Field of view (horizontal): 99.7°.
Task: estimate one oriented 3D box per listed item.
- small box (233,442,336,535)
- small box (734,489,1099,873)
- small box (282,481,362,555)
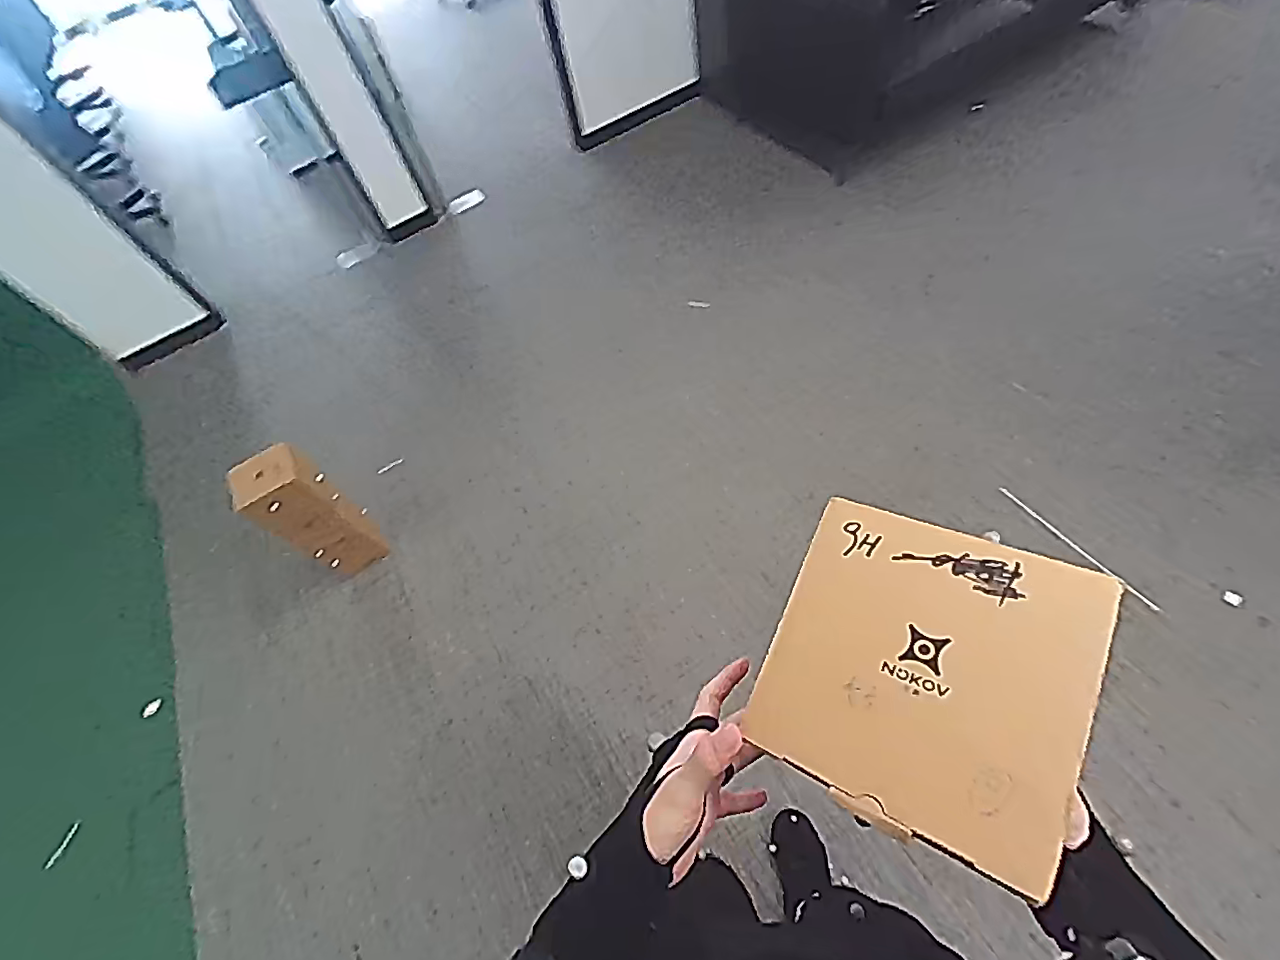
[{"bbox_3d":[-1.026,0.031,1.566,0.179,0.176,0.168,-31,58,-11],"label":"small box"},{"bbox_3d":[0.192,0.134,0.396,0.168,0.176,0.179,17,74,29],"label":"small box"},{"bbox_3d":[-1.013,0.115,1.708,0.168,0.176,0.179,-33,57,-12],"label":"small box"}]
